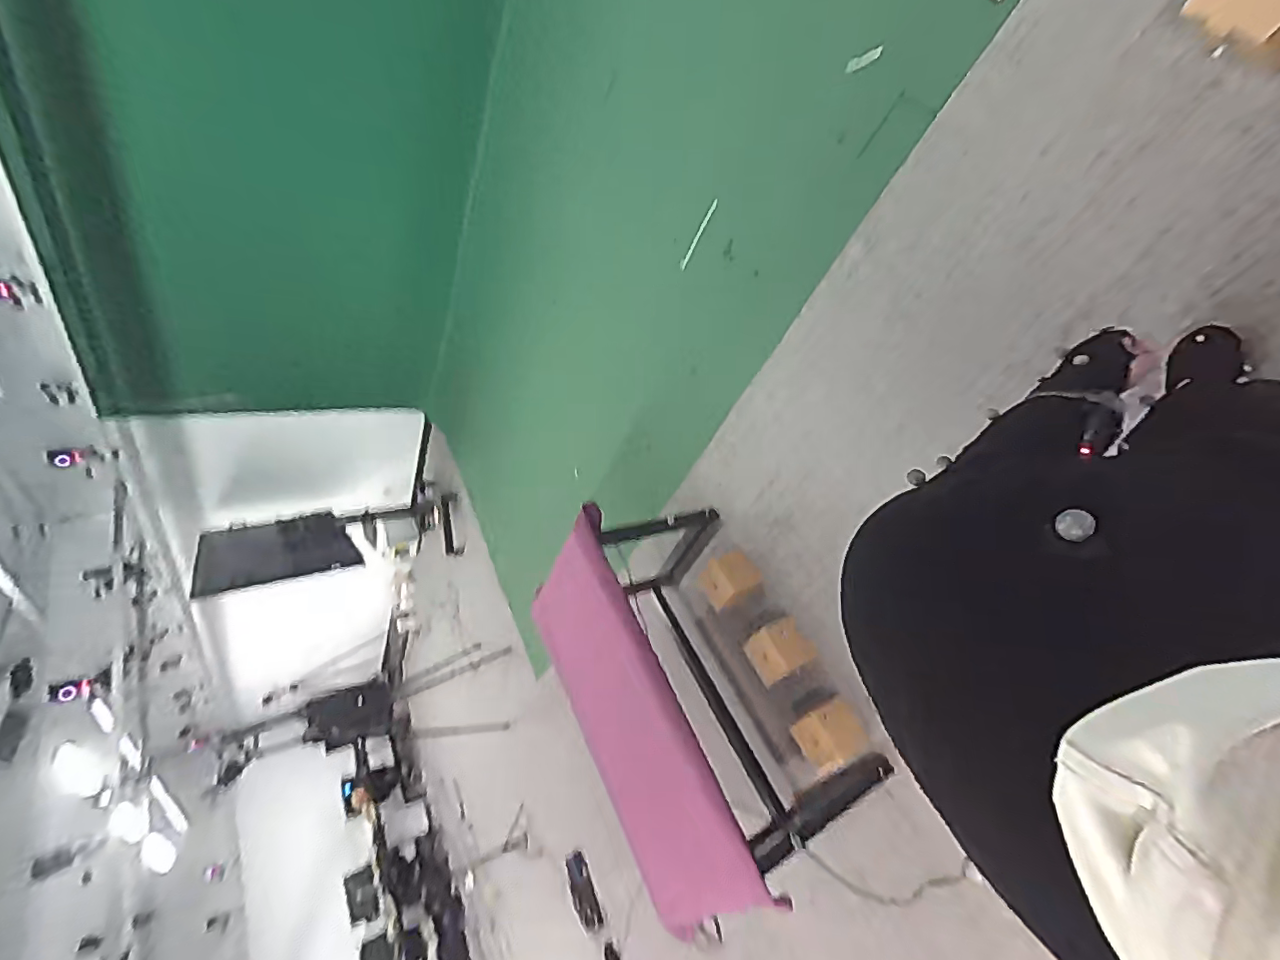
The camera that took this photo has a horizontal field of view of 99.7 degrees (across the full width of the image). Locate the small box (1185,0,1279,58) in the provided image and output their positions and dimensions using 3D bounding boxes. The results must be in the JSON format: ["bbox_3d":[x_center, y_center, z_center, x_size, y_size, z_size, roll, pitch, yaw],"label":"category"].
[{"bbox_3d":[1.145,-0.898,0.958,0.168,0.176,0.179,61,140,26],"label":"small box"}]

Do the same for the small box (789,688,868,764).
[{"bbox_3d":[0.685,0.889,1.960,0.179,0.176,0.168,59,139,29],"label":"small box"}]

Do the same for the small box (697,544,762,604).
[{"bbox_3d":[0.379,0.389,2.279,0.179,0.176,0.168,57,137,30],"label":"small box"}]

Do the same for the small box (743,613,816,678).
[{"bbox_3d":[0.543,0.634,2.104,0.179,0.176,0.168,59,139,27],"label":"small box"}]
